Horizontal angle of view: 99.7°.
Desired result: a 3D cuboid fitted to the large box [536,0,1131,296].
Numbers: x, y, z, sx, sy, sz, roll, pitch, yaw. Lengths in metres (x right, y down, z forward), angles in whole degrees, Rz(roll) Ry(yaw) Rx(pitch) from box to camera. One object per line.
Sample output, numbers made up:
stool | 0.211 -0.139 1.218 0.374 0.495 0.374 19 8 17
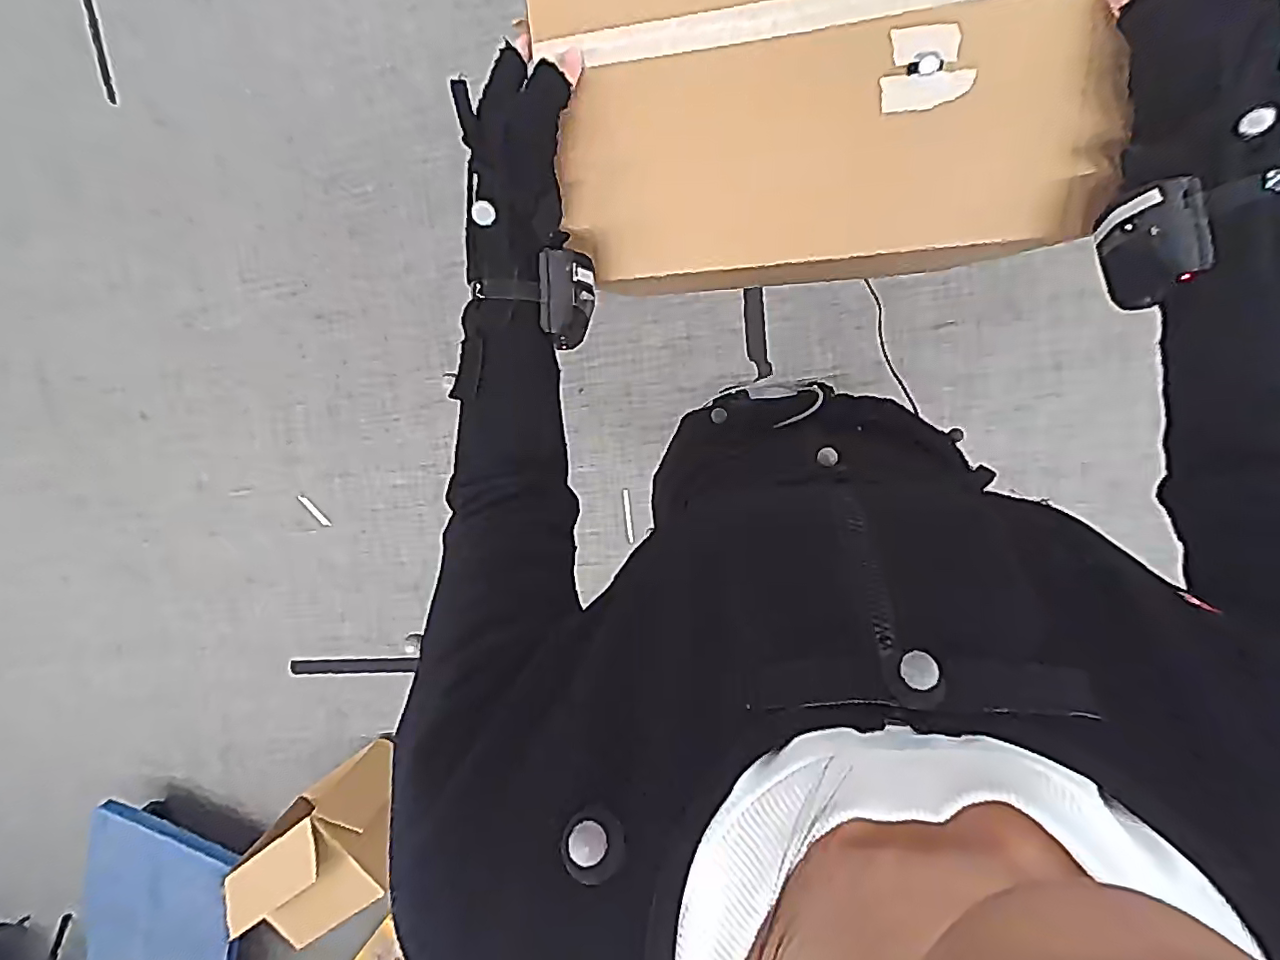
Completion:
large box | 0.141 -0.366 0.519 0.408 0.320 0.320 -3 106 9
